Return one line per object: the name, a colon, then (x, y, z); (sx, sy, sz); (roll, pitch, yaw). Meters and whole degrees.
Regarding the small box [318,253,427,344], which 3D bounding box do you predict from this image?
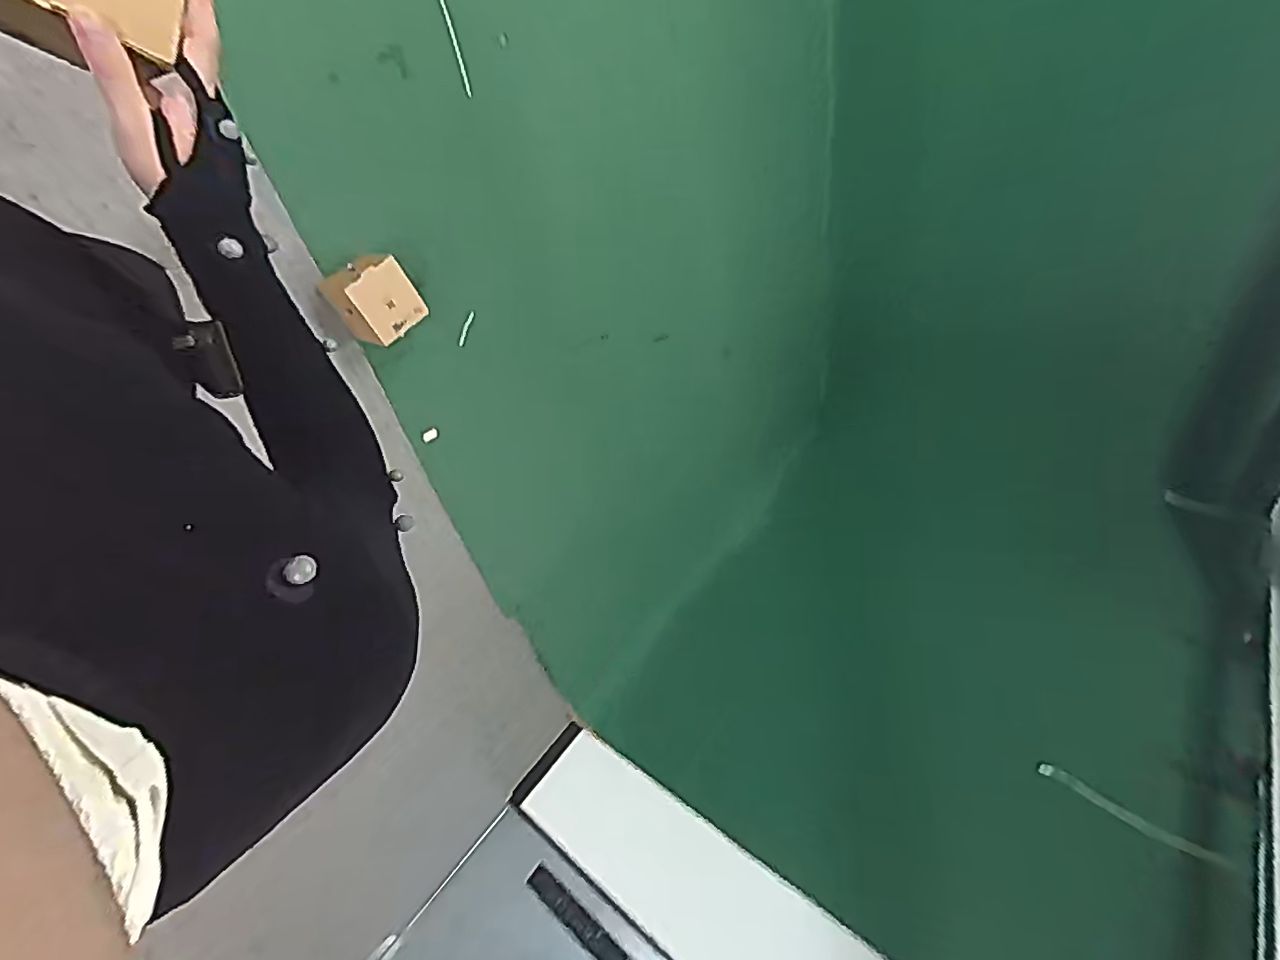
small box: (-0.734, -0.497, 1.479); (0.168, 0.176, 0.179); (-51, 139, -25)
